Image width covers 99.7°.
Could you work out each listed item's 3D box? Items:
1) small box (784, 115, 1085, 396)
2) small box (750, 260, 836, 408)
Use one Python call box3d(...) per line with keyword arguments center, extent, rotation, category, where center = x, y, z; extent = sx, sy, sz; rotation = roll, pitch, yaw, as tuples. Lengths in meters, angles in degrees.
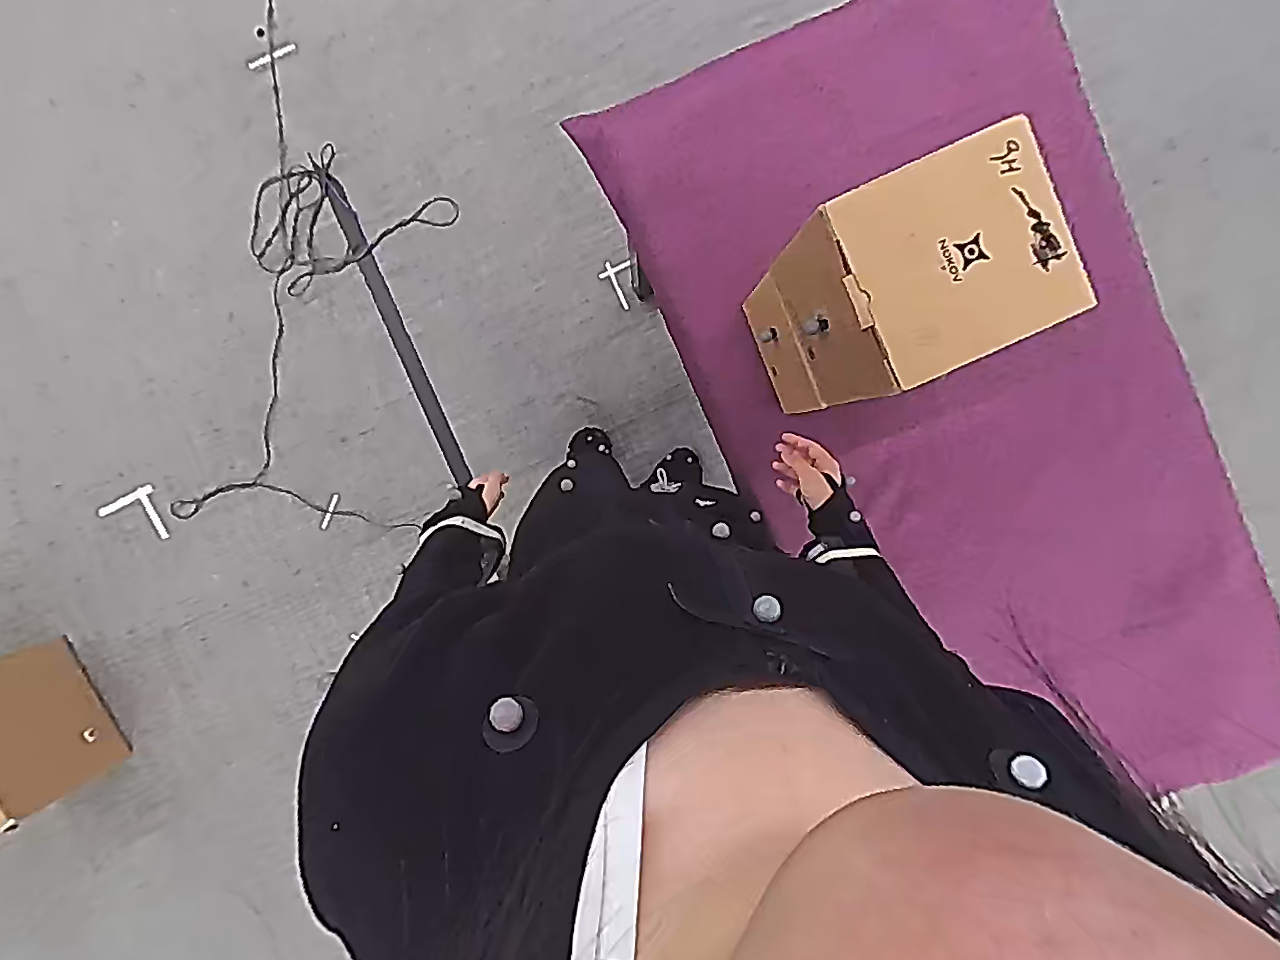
box3d(center=(0.255, -0.190, 0.519), extent=(0.179, 0.176, 0.168), rotation=(-24, 95, 2), category="small box")
box3d(center=(0.251, -0.198, 0.683), extent=(0.179, 0.176, 0.168), rotation=(-23, 94, 1), category="small box")
